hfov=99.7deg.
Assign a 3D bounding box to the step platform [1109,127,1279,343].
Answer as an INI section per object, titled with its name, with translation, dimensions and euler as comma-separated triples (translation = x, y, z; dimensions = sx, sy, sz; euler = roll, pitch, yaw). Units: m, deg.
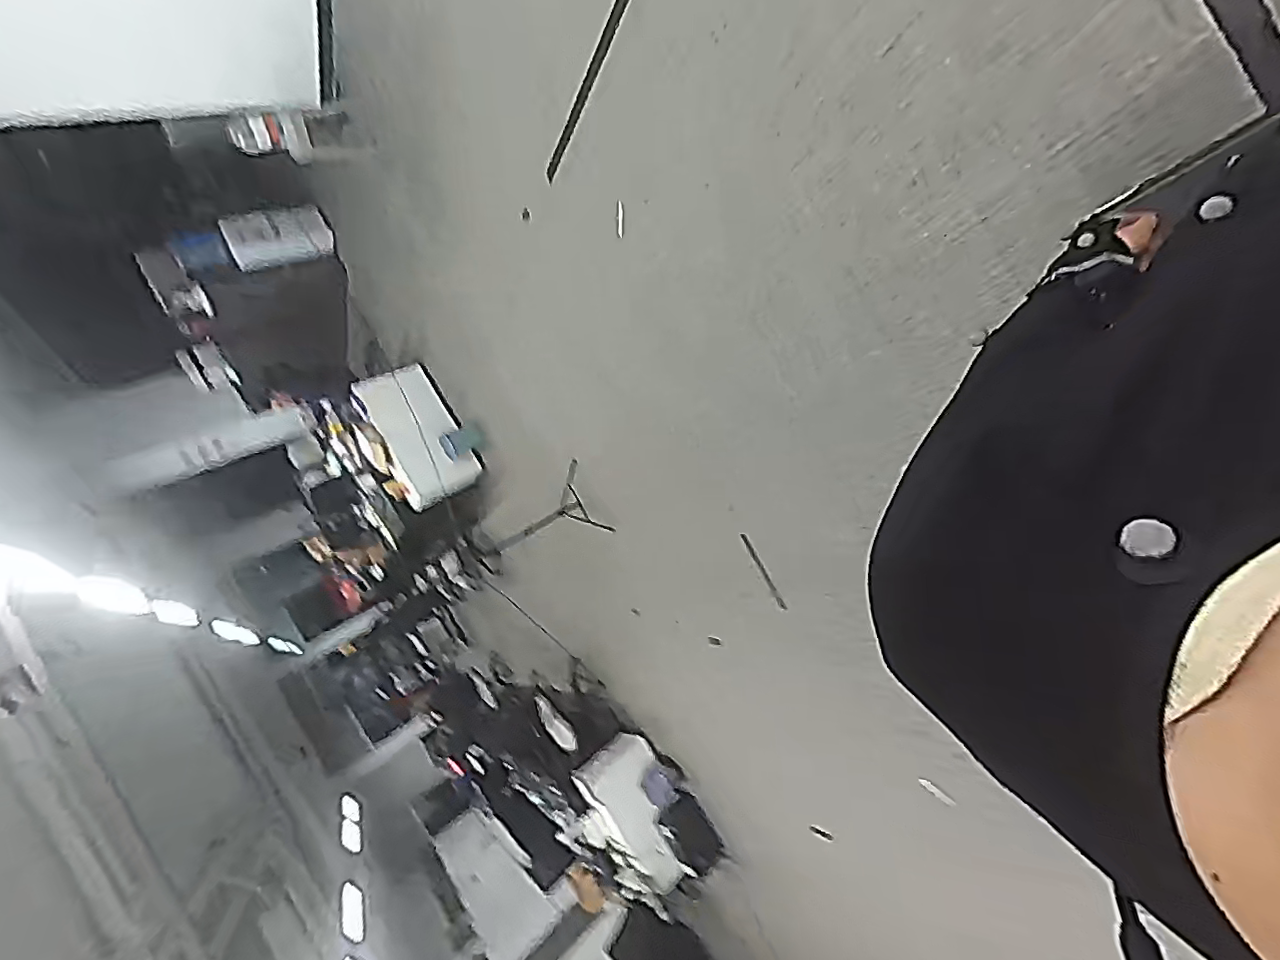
[step platform]
translation = 1.149, -0.471, 0.797
dimensions = 0.684, 0.204, 0.286
euler = -24, 94, 56
